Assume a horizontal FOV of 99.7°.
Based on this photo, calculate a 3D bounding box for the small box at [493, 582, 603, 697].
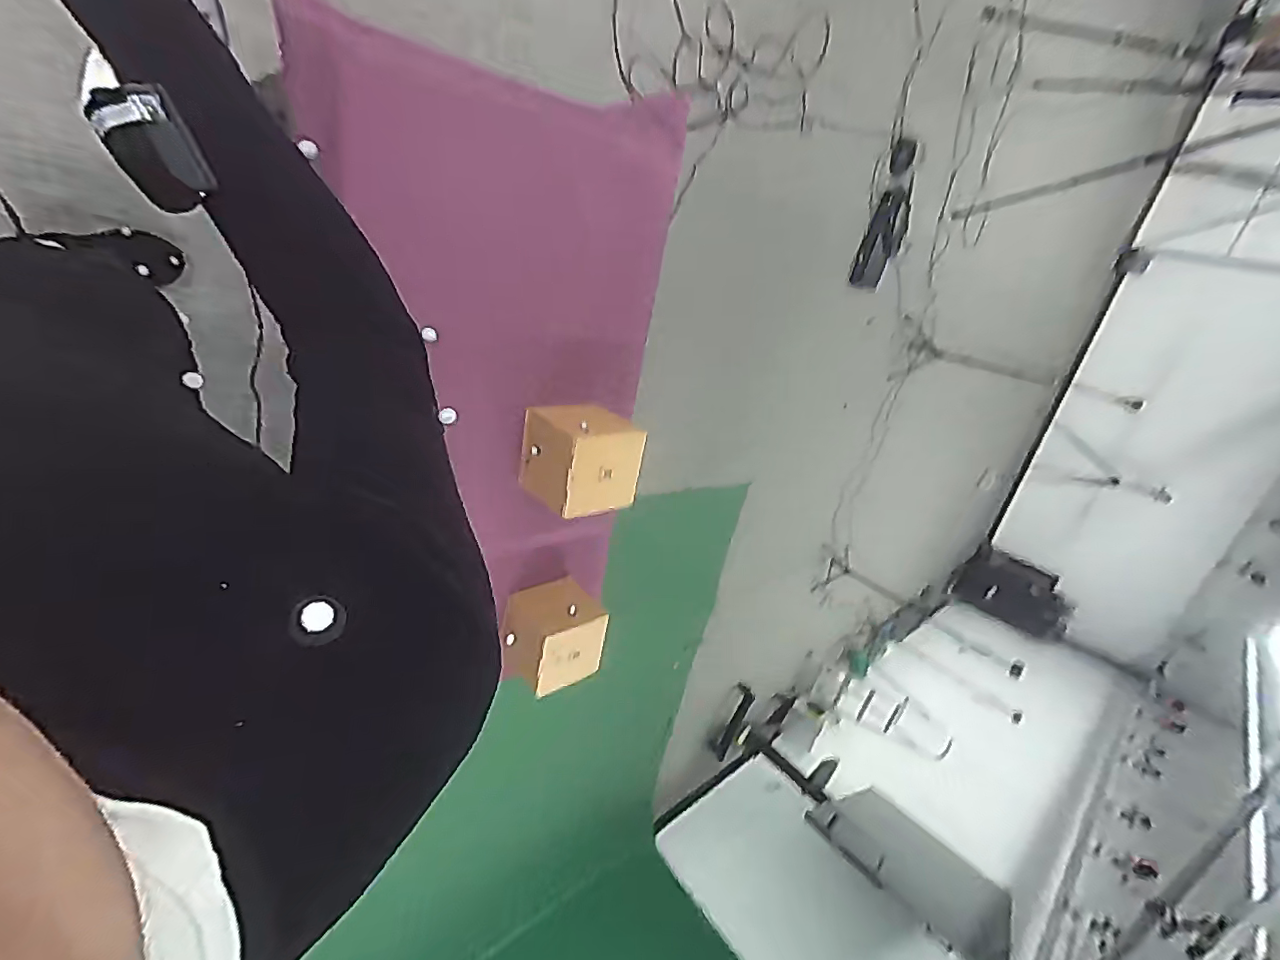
[{"bbox_3d":[-0.217,0.361,1.262,0.179,0.176,0.168,-8,119,-43],"label":"small box"}]

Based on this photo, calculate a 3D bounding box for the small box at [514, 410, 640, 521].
[{"bbox_3d":[-0.132,-0.039,1.098,0.179,0.176,0.168,-9,121,-42],"label":"small box"}]
